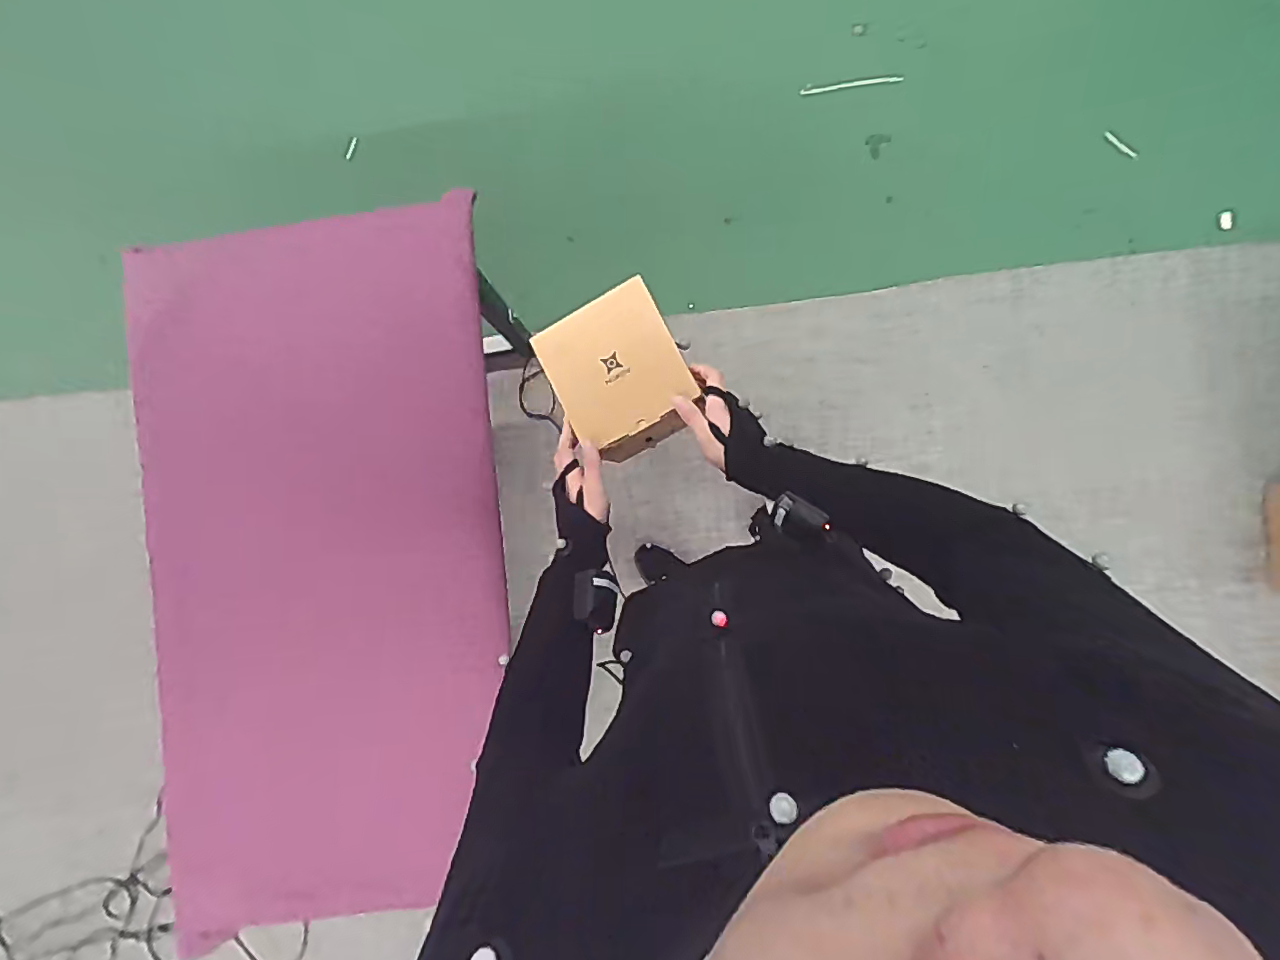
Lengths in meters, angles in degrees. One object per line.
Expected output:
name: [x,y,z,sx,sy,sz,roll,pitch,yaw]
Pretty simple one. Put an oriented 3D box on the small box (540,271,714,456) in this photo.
small box: [-0.008,-0.144,0.744,0.168,0.176,0.179,-27,86,9]
